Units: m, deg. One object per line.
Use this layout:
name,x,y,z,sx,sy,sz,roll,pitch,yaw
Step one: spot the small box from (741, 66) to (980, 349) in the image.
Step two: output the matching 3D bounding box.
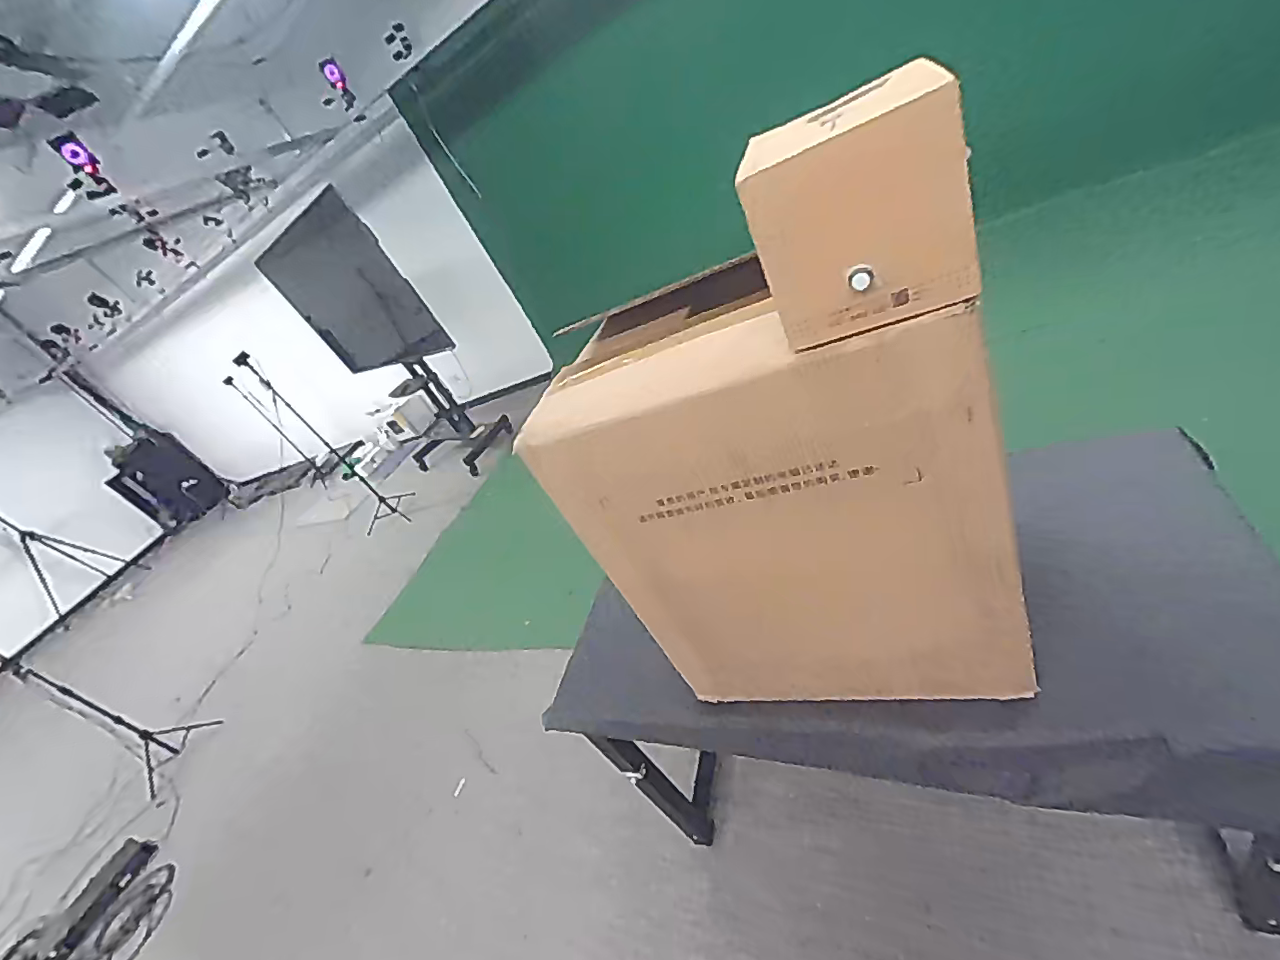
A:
small box,0.210,-0.253,0.517,0.168,0.176,0.179,-12,37,27
